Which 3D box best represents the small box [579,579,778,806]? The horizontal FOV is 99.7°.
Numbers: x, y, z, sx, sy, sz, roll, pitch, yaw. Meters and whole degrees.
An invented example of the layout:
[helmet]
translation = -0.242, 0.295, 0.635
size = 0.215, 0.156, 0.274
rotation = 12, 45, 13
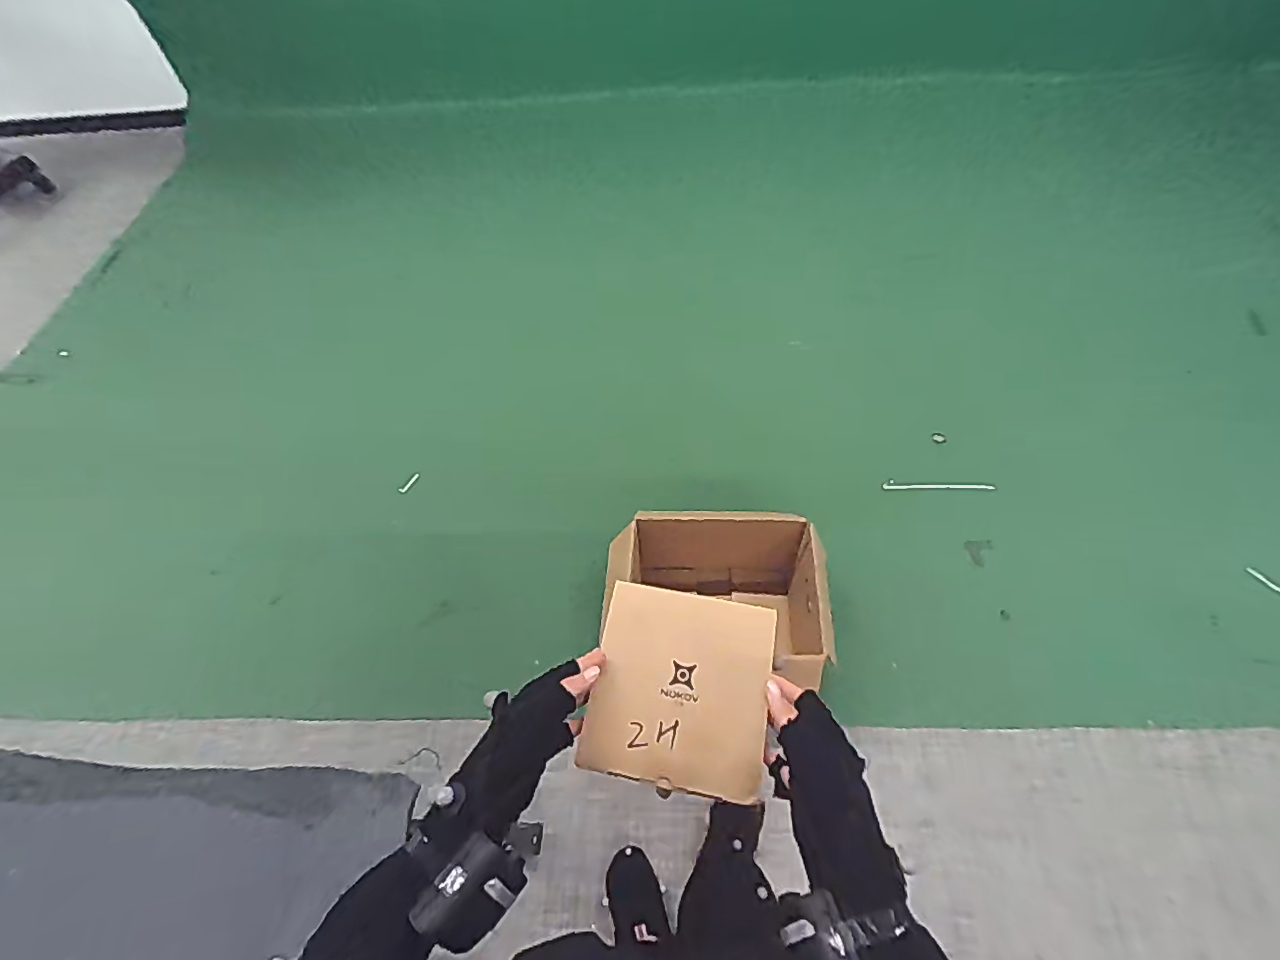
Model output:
[small box]
translation = 0.045, 0.227, 0.582
size = 0.168, 0.176, 0.179
rotation = 9, 65, 9
